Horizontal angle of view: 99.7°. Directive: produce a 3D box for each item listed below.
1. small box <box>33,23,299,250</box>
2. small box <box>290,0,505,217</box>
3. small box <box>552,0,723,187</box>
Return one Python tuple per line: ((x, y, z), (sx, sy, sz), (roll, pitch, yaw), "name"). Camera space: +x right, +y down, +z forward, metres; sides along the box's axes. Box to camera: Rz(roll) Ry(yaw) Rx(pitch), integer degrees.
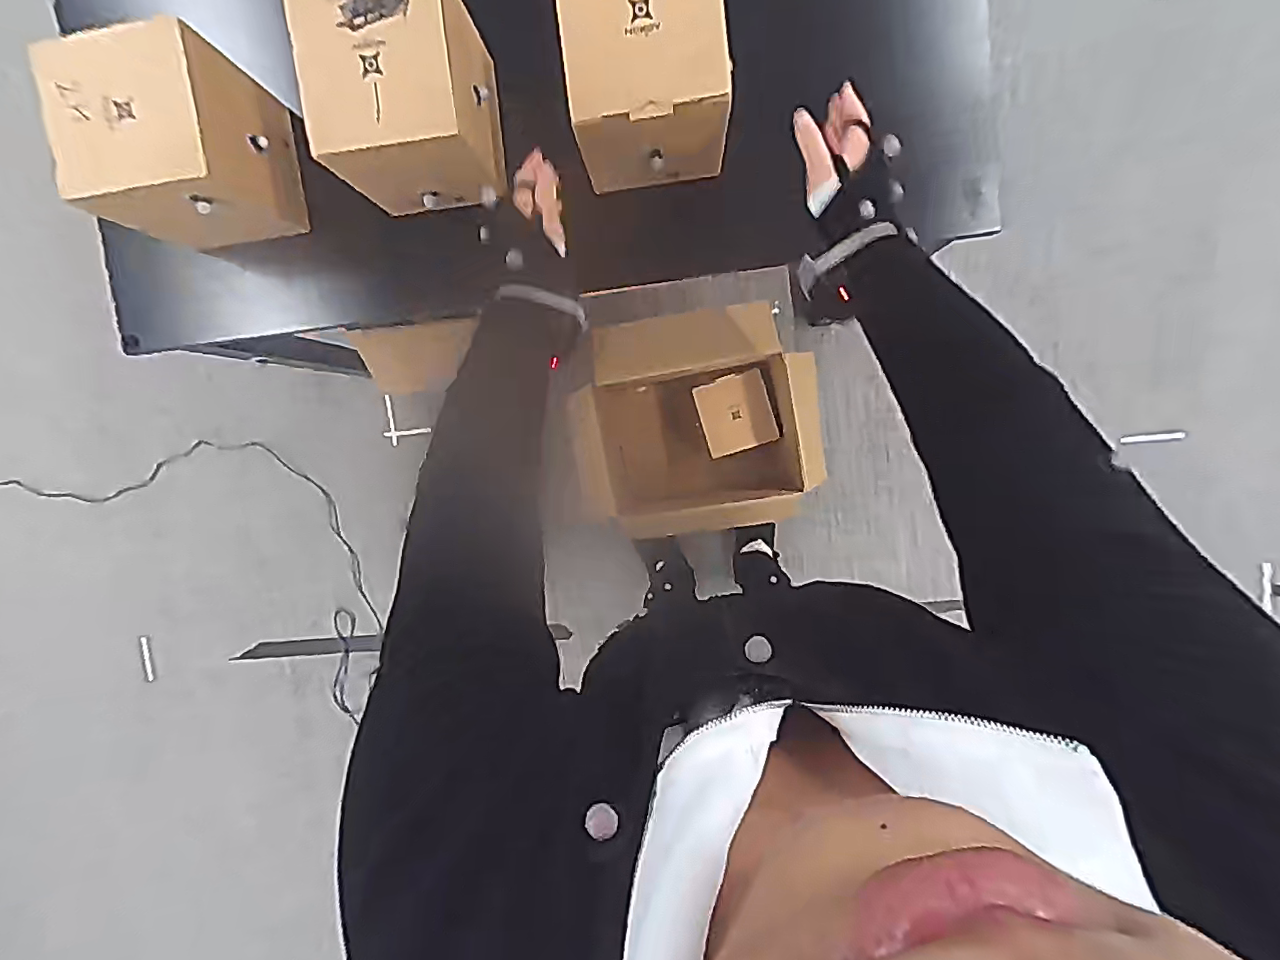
((-0.553, -0.400, 0.662), (0.179, 0.176, 0.168), (-7, 94, 4), "small box")
((-0.272, -0.441, 0.641), (0.168, 0.176, 0.179), (-6, 95, 5), "small box")
((0.002, -0.462, 0.621), (0.168, 0.176, 0.179), (-6, 95, 5), "small box")
